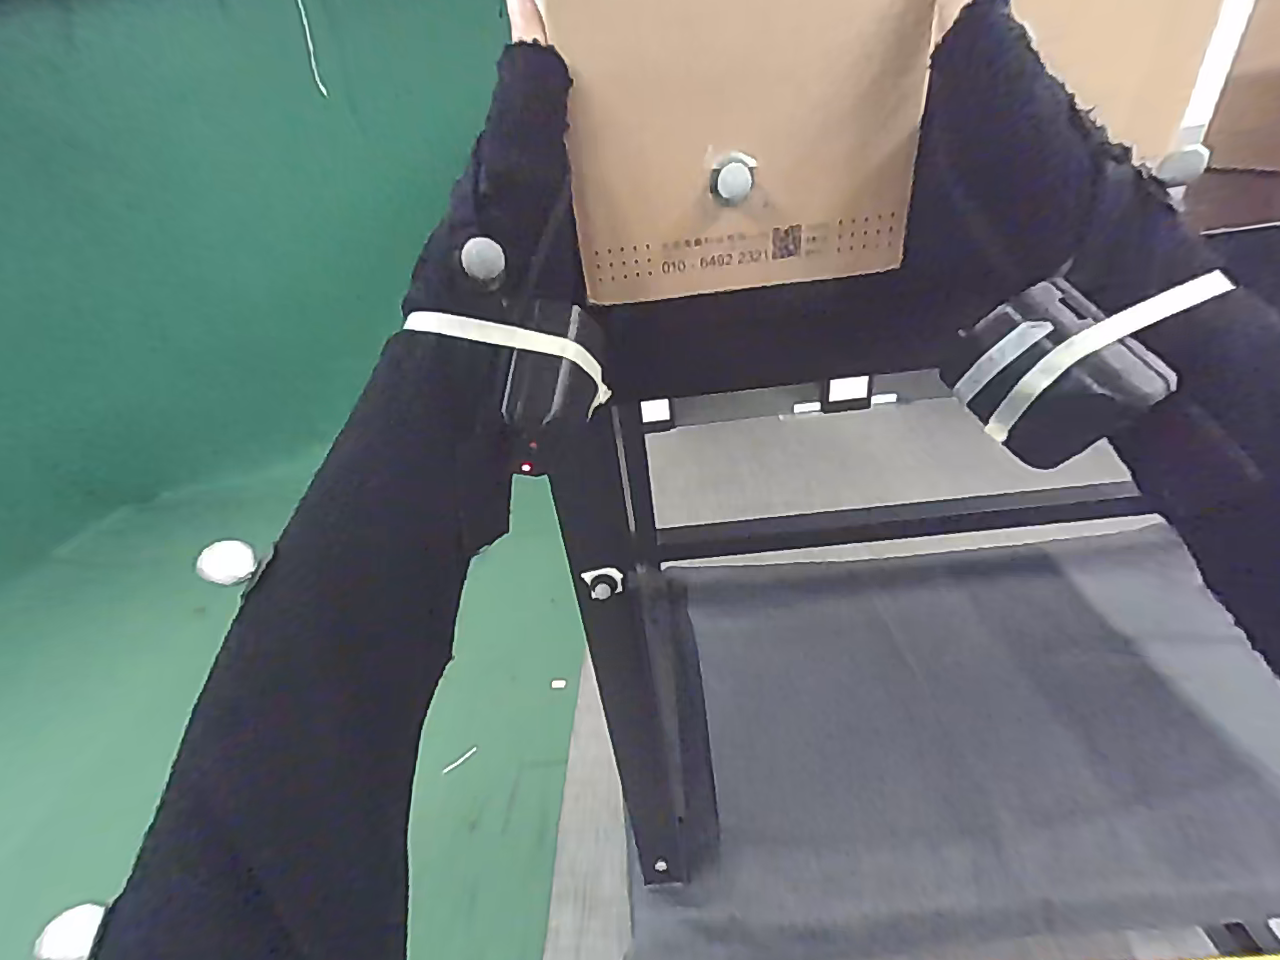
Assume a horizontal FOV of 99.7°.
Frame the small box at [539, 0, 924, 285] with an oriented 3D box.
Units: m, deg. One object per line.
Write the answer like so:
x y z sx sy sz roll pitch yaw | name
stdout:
0.037 -0.218 0.311 0.168 0.176 0.179 -7 32 1 | small box
